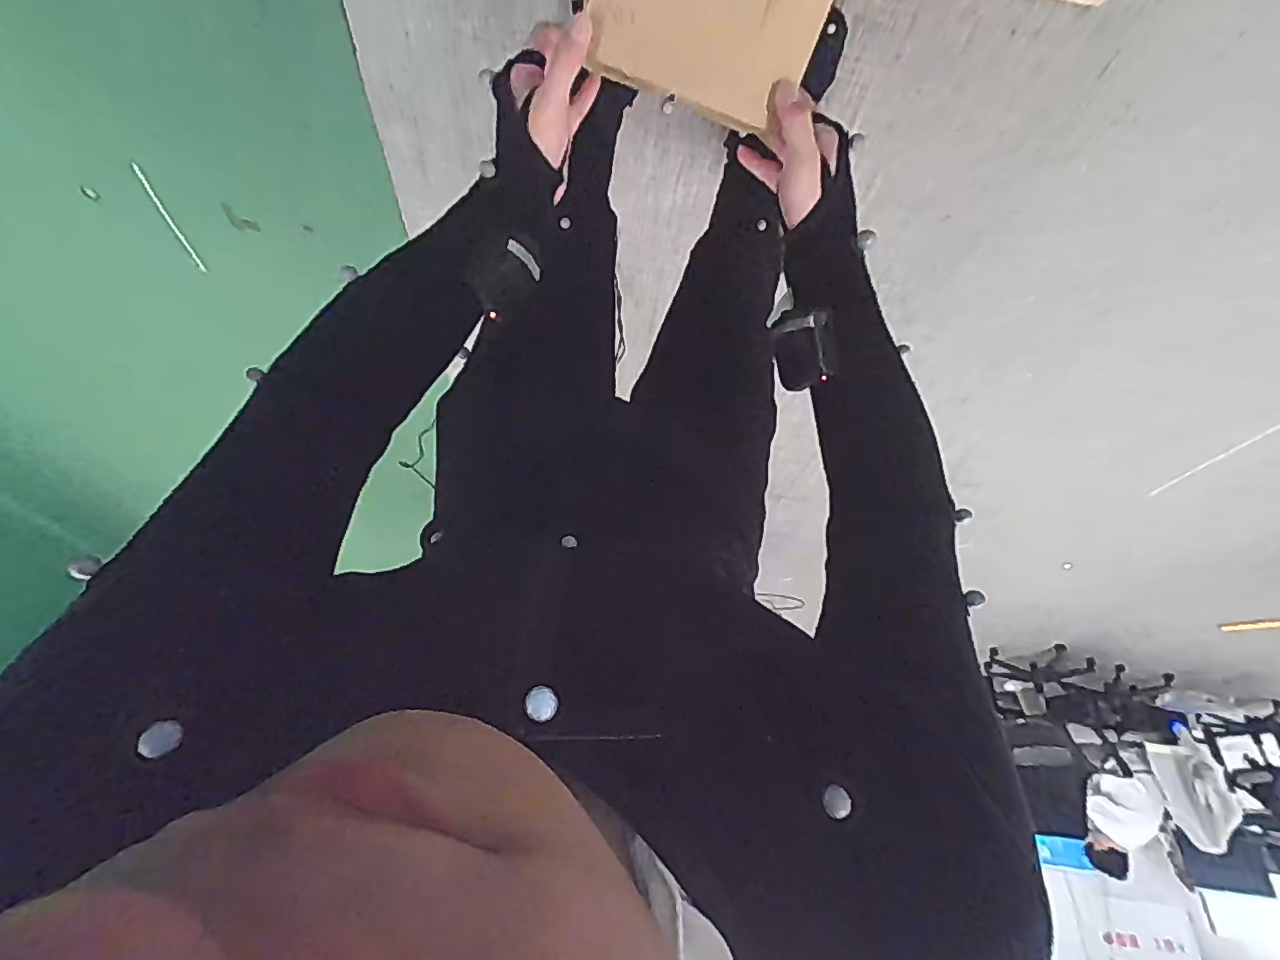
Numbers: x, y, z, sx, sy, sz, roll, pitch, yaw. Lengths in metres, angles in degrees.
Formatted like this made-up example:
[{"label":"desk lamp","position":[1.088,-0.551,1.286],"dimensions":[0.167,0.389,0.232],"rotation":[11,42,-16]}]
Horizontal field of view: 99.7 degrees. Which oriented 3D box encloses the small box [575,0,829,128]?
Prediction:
[{"label":"small box","position":[0.057,-0.421,0.456],"dimensions":[0.179,0.176,0.168],"rotation":[16,123,-11]}]
